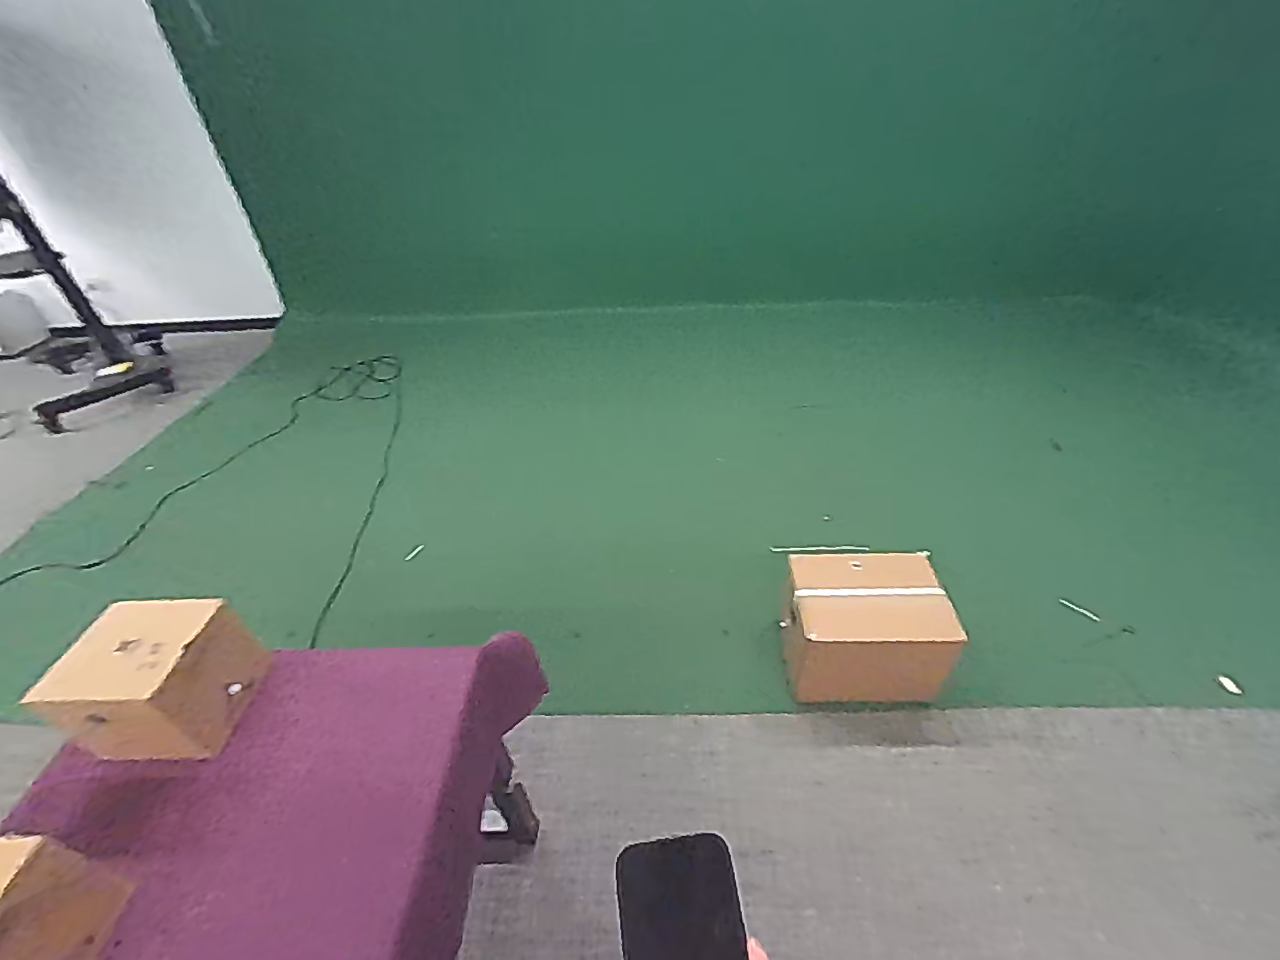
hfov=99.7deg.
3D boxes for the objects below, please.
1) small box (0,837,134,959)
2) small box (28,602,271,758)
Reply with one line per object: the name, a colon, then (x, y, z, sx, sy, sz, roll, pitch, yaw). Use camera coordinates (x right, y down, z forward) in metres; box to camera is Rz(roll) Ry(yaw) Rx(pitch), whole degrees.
small box: (-0.721, 0.506, 0.574, 0.179, 0.176, 0.168, -3, 39, 0)
small box: (-0.718, 0.304, 0.820, 0.179, 0.176, 0.168, -2, 40, 2)
